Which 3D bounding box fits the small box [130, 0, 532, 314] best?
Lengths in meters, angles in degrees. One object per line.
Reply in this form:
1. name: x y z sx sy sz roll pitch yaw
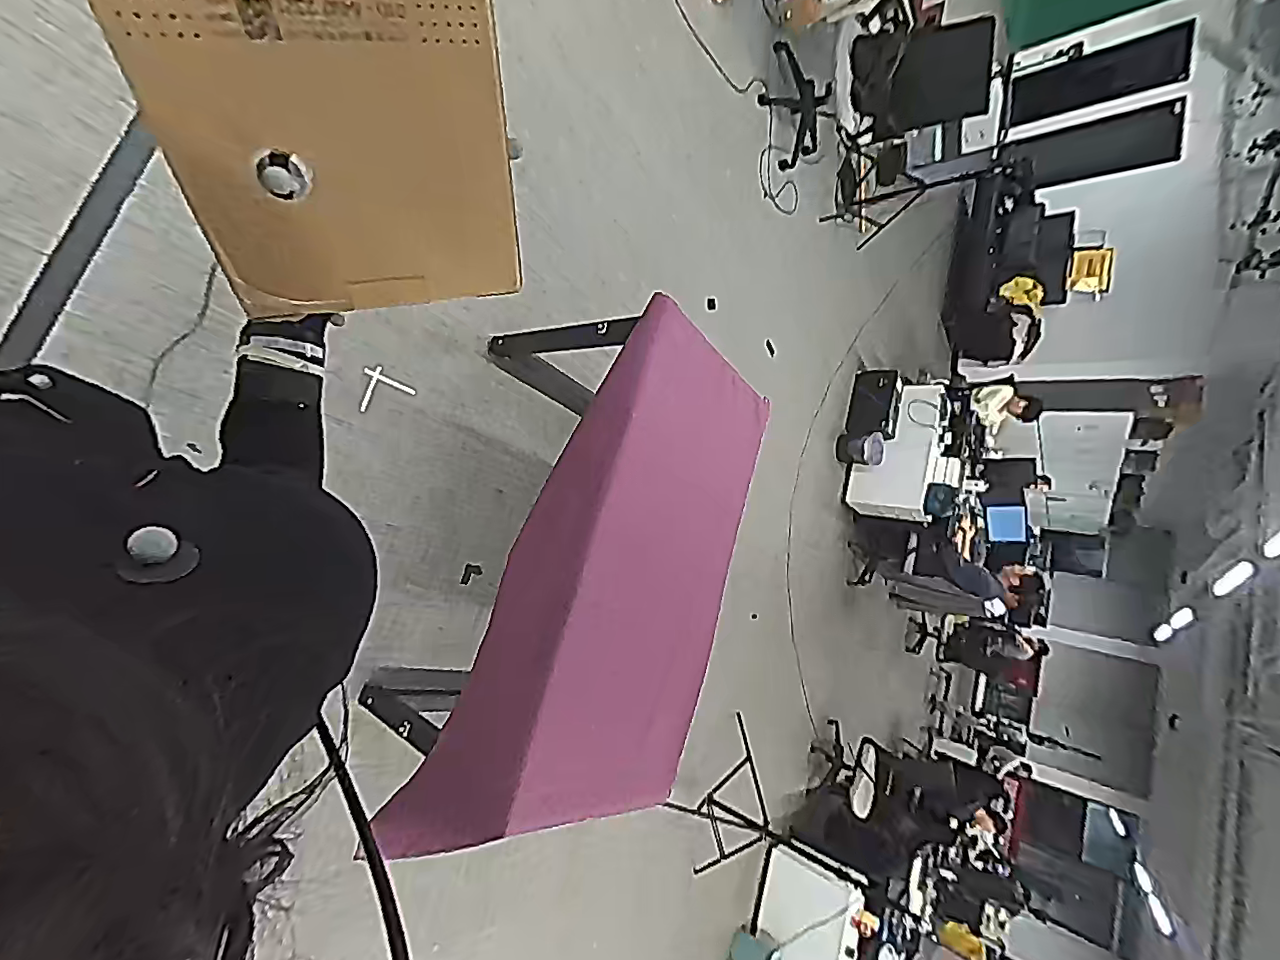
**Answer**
1. small box: -0.172 -0.227 0.339 0.168 0.179 0.176 -11 135 -18
